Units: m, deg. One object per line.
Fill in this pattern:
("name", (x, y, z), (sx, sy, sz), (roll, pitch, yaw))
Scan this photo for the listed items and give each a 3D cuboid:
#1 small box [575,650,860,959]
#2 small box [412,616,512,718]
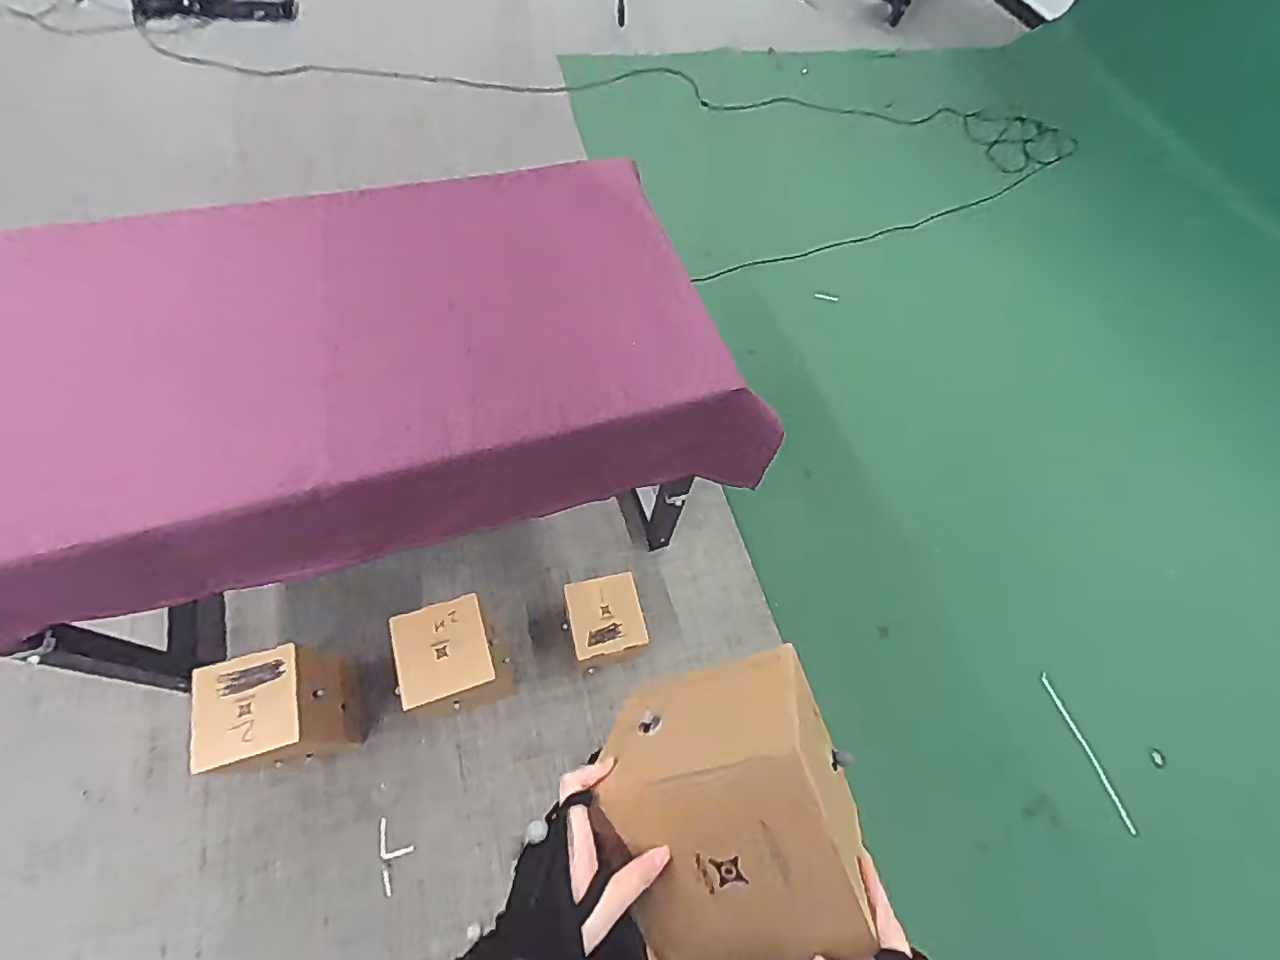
("small box", (0.073, 0.277, 0.482), (0.179, 0.176, 0.168), (-21, 92, 16))
("small box", (-0.402, 0.432, 1.238), (0.179, 0.176, 0.168), (-14, 65, -14))
